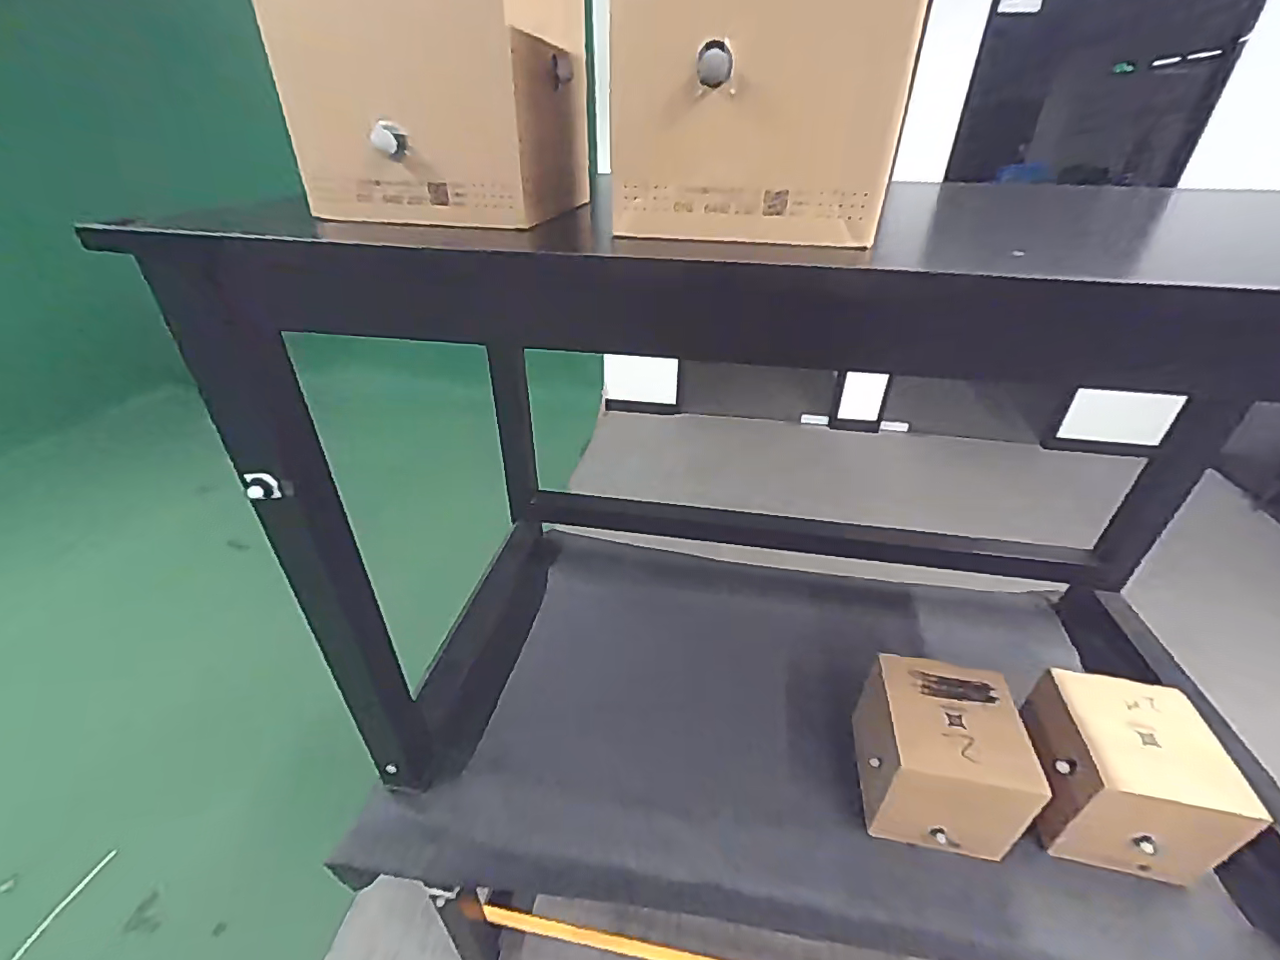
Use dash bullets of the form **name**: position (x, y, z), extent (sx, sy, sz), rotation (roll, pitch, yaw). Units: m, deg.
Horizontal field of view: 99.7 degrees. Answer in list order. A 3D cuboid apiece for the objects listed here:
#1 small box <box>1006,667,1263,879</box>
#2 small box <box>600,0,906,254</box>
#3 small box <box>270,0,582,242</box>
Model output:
- **small box**: position (0.628, 0.387, 0.720), extent (0.168, 0.176, 0.179), rotation (8, 33, 11)
- **small box**: position (0.074, -0.261, 0.376), extent (0.168, 0.176, 0.179), rotation (6, 33, 9)
- **small box**: position (-0.145, -0.293, 0.418), extent (0.168, 0.176, 0.179), rotation (6, 34, 8)
